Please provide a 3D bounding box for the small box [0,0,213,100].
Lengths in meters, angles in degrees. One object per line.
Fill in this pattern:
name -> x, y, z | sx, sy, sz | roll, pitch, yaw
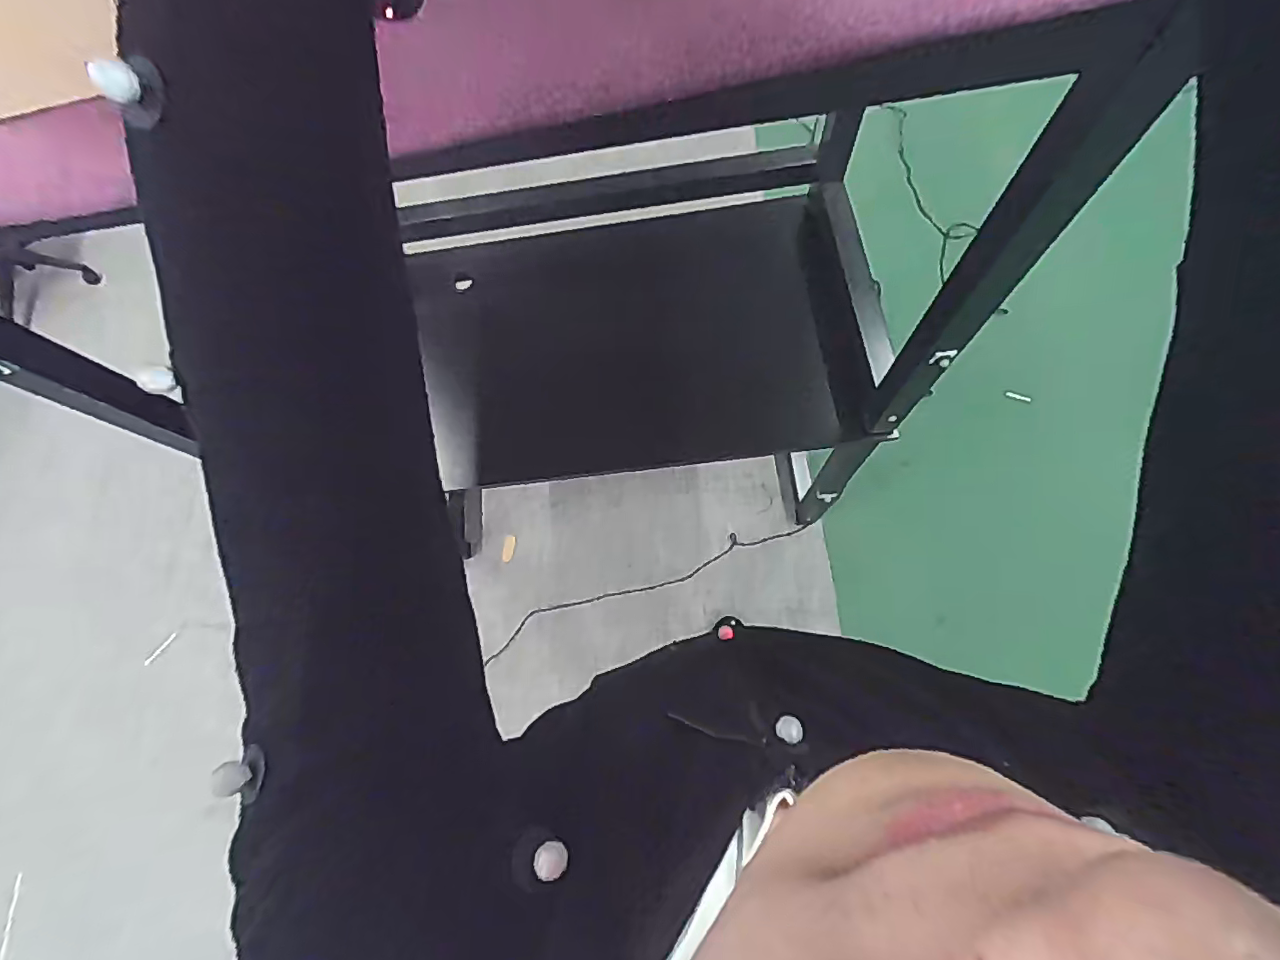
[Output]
small box -> -0.413, -0.377, 0.335 | 0.179, 0.176, 0.168 | -10, 71, 3
